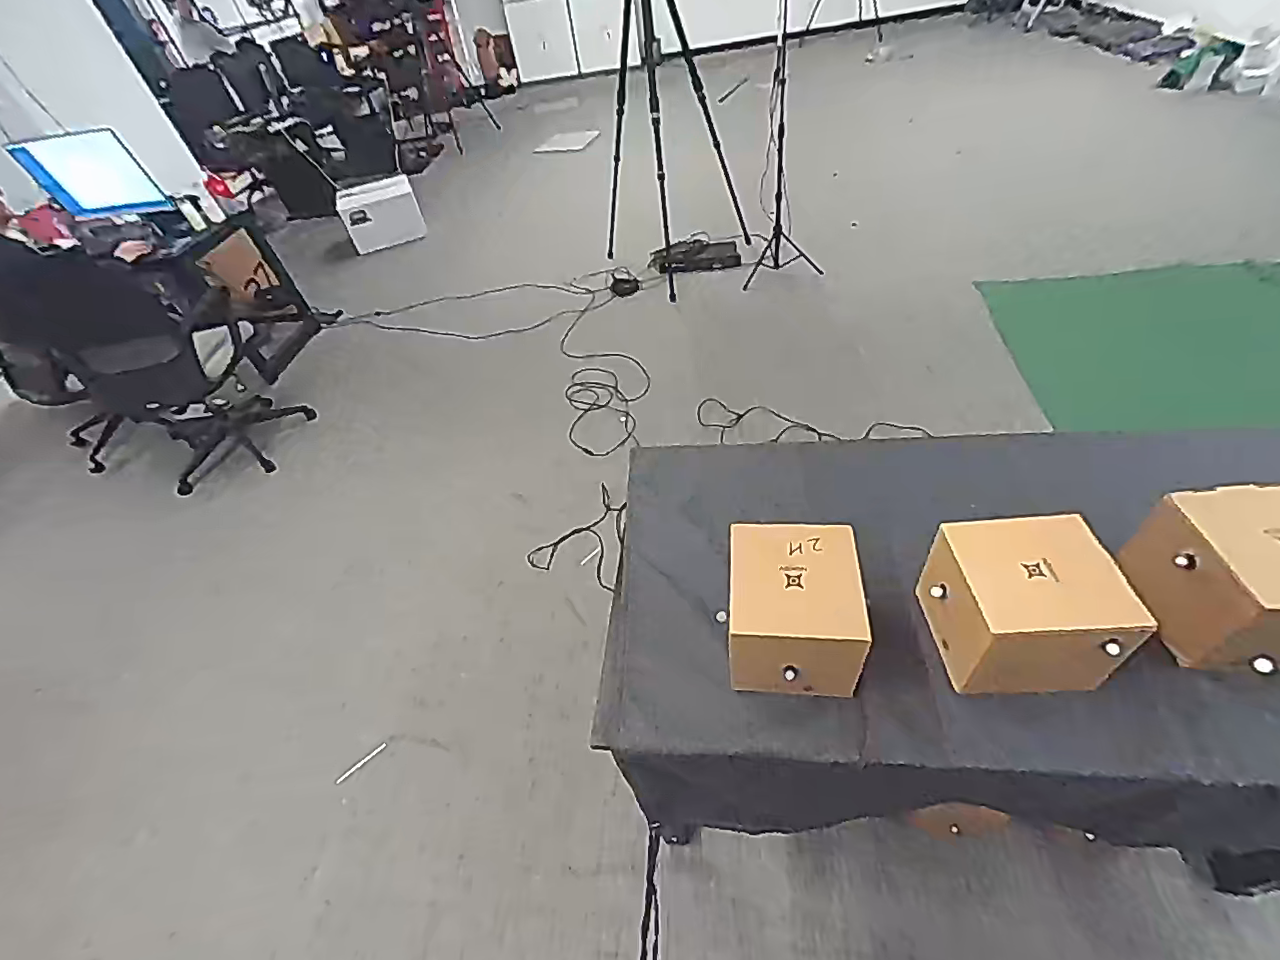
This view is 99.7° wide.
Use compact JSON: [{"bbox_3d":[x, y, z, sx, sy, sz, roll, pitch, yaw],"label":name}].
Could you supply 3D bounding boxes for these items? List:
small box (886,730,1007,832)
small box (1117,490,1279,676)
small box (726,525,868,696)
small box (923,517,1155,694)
[{"bbox_3d":[0.672,0.673,1.208,0.179,0.176,0.168,-3,47,9],"label":"small box"},{"bbox_3d":[0.774,0.132,0.691,0.168,0.176,0.179,-4,47,9],"label":"small box"},{"bbox_3d":[0.208,0.182,0.752,0.168,0.176,0.179,1,47,11],"label":"small box"},{"bbox_3d":[0.495,0.170,0.713,0.179,0.176,0.168,-5,46,7],"label":"small box"}]
